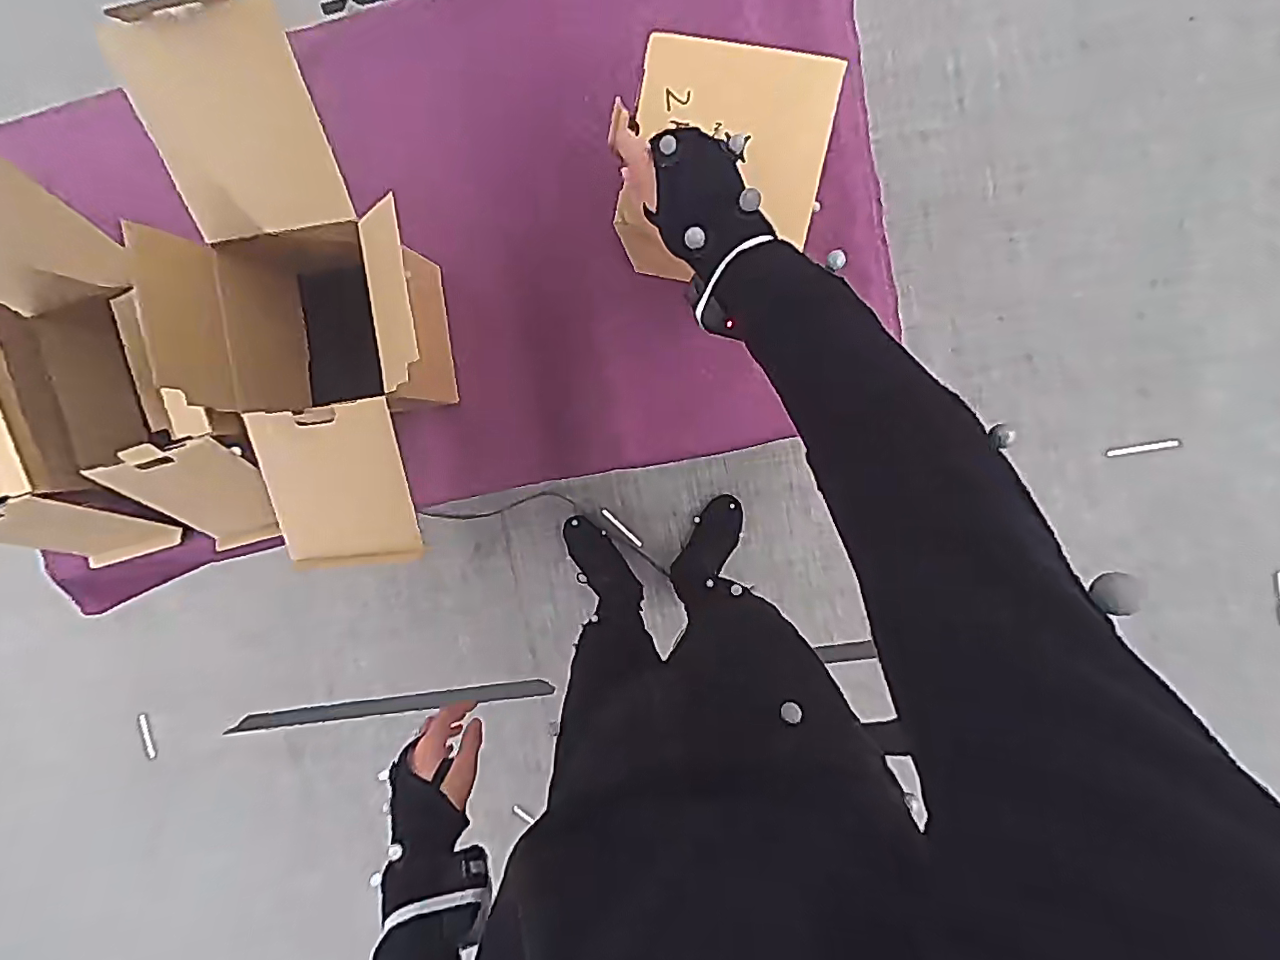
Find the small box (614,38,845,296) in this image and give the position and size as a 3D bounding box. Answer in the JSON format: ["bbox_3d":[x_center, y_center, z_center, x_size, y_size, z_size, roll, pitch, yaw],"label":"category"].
[{"bbox_3d":[0.085,-0.300,0.559,0.179,0.176,0.168,13,97,5],"label":"small box"}]
